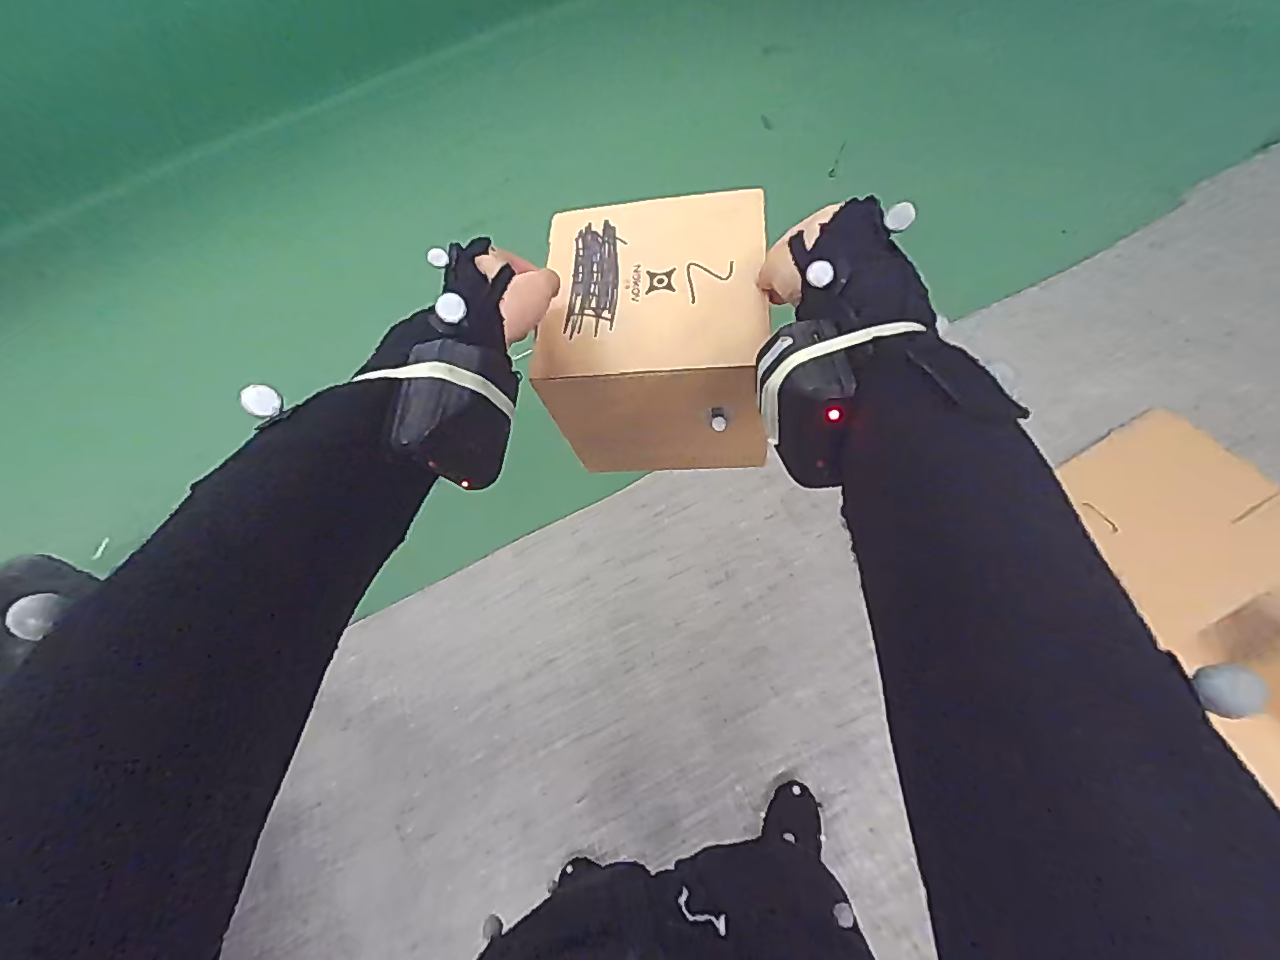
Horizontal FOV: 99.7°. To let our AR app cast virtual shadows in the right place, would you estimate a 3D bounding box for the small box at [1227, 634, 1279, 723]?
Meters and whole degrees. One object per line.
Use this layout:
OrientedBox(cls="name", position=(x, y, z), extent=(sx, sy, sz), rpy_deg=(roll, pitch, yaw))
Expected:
OrientedBox(cls="small box", position=(1.238, 0.358, 0.960), extent=(0.168, 0.176, 0.179), rpy_deg=(-27, 60, -5))
